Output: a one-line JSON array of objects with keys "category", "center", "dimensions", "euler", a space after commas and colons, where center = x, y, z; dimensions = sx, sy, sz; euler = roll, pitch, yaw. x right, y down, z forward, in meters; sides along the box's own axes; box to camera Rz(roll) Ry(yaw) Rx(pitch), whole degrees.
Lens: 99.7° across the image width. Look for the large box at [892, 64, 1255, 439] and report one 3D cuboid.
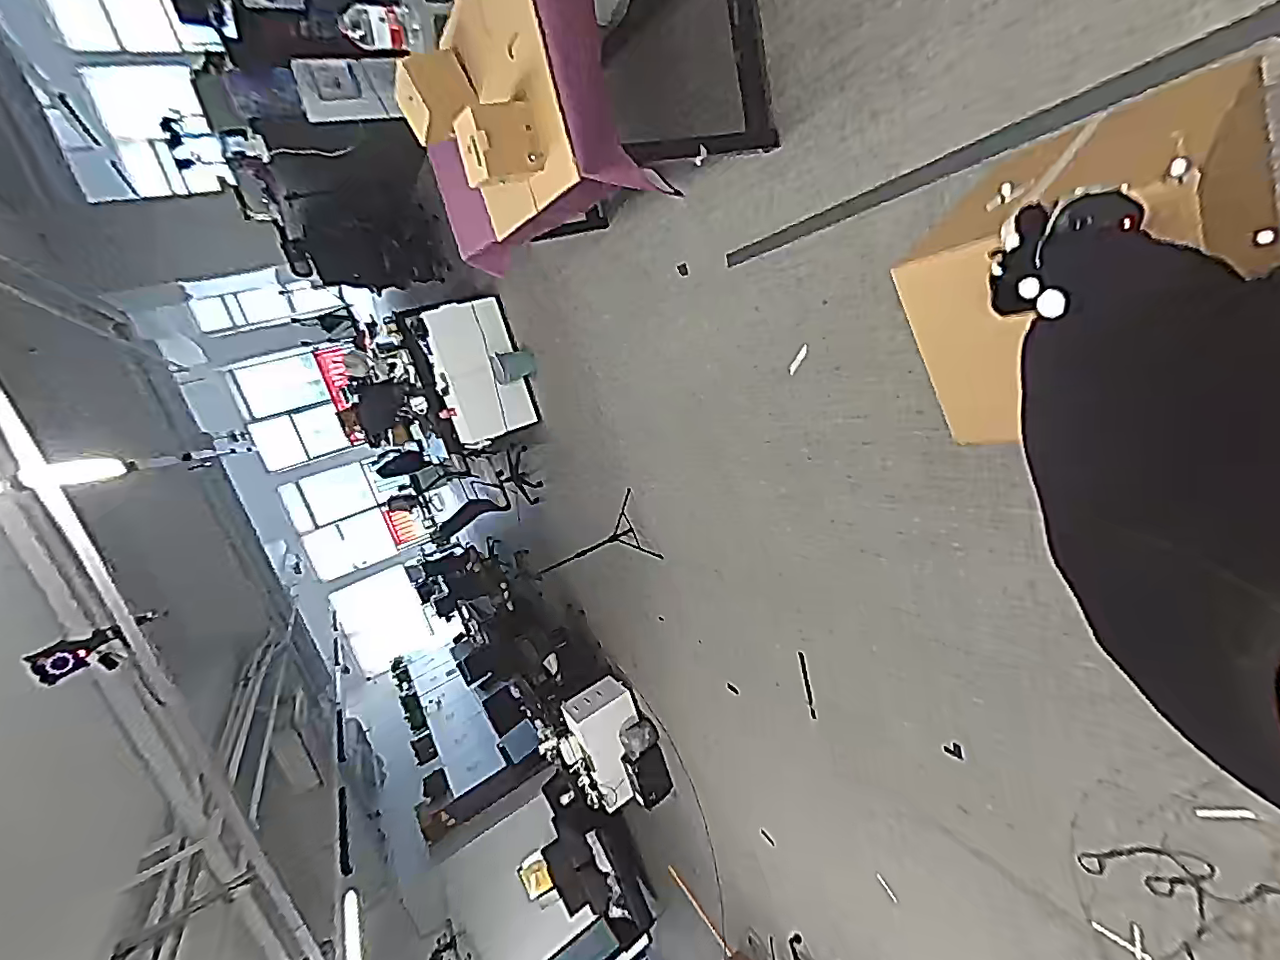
[{"category": "large box", "center": [0.644, -0.305, 0.792], "dimensions": [0.320, 0.408, 0.320], "euler": [1, 130, 55]}]
